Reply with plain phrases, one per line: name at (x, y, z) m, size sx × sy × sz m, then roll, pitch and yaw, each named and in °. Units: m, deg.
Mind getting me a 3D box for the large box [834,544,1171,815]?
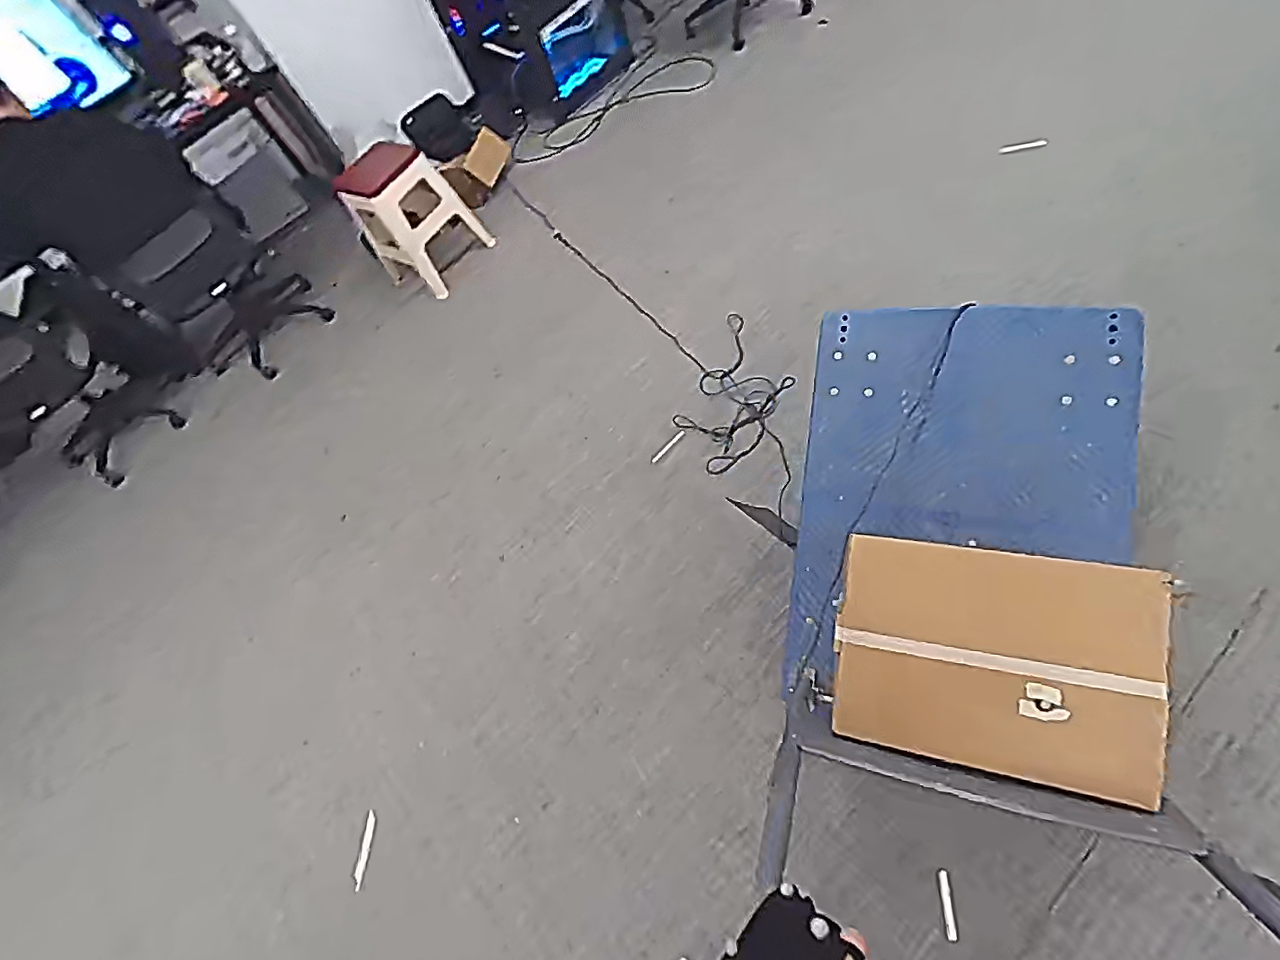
large box at (0.550, 0.284, 0.913) m, size 0.408 × 0.320 × 0.320 m, roll 6°, pitch 87°, yaw 20°
